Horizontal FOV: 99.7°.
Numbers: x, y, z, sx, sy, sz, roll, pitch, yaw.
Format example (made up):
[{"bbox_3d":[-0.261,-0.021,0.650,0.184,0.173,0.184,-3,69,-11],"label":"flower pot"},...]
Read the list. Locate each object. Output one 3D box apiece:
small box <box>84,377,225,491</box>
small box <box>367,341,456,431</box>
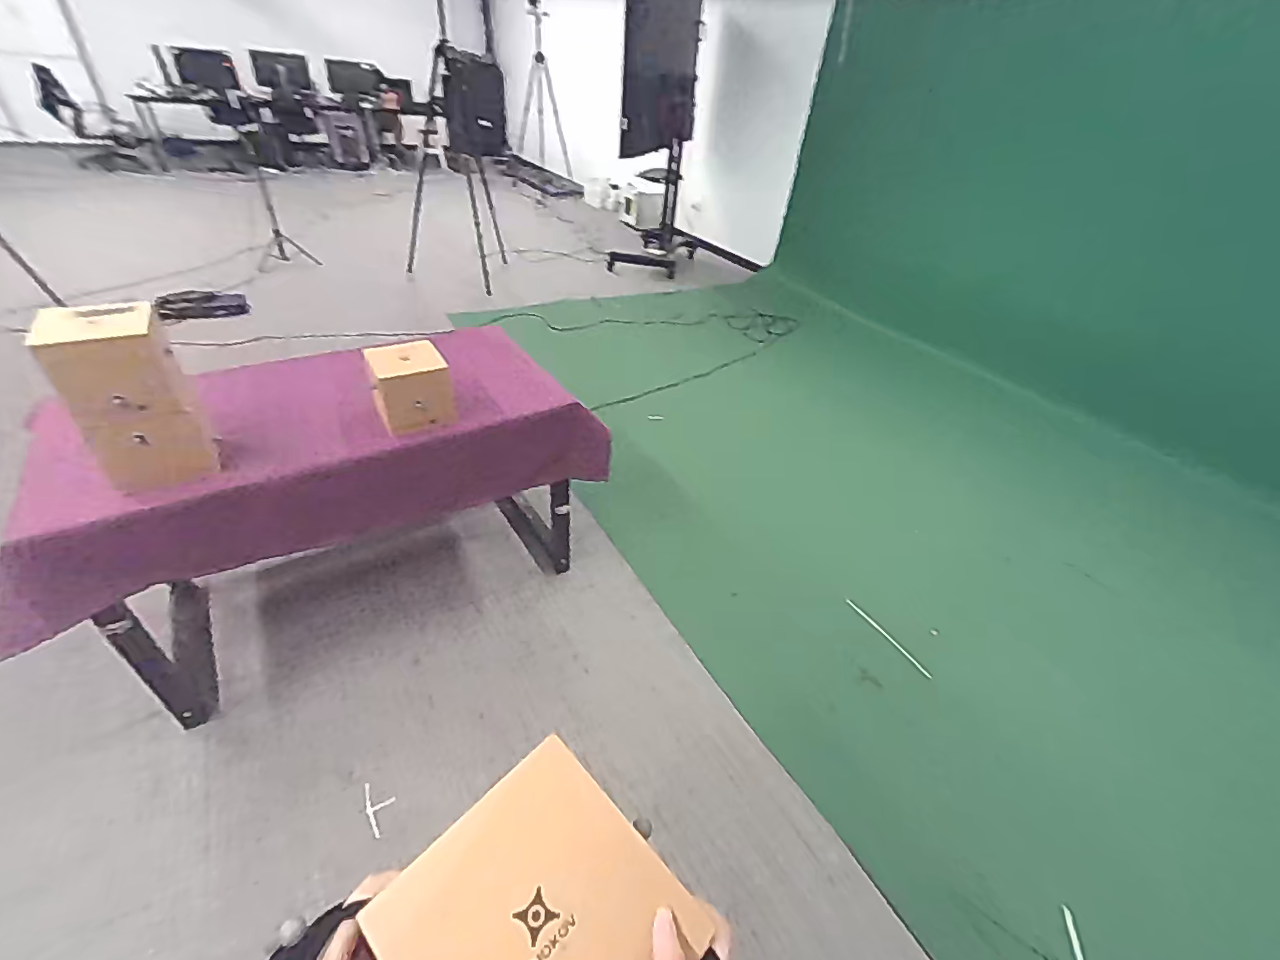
[{"bbox_3d":[-1.032,-0.099,1.165,0.179,0.176,0.168,-18,43,-29],"label":"small box"},{"bbox_3d":[-0.591,-0.241,1.409,0.168,0.176,0.179,-17,43,-28],"label":"small box"}]
